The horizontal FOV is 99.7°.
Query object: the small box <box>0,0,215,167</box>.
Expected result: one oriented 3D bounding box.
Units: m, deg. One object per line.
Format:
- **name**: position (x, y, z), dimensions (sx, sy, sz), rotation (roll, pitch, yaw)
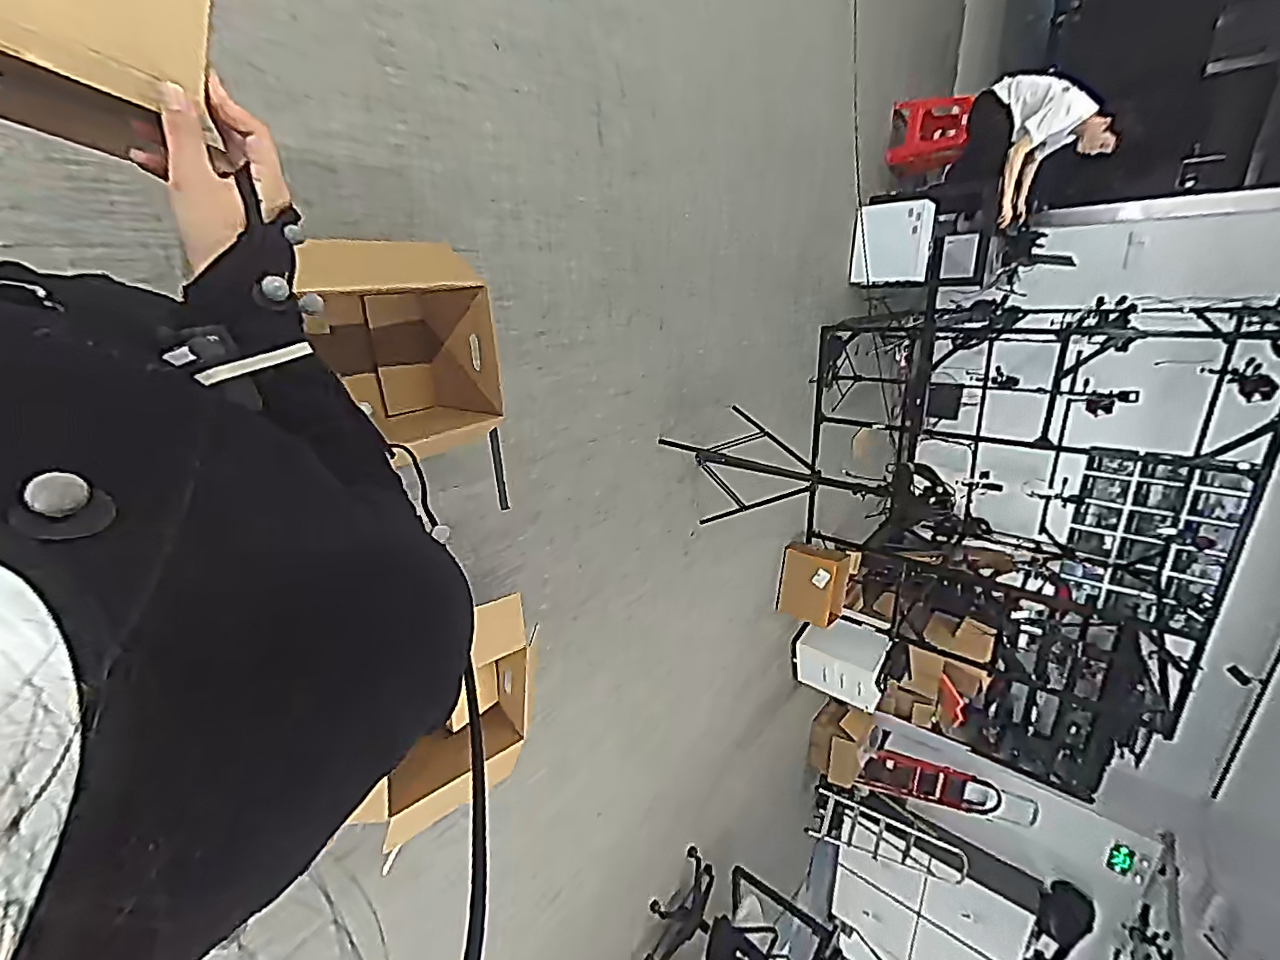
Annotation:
- **small box**: position (-0.375, -0.318, 0.327), dimensions (0.179, 0.176, 0.168), rotation (4, 100, -45)
